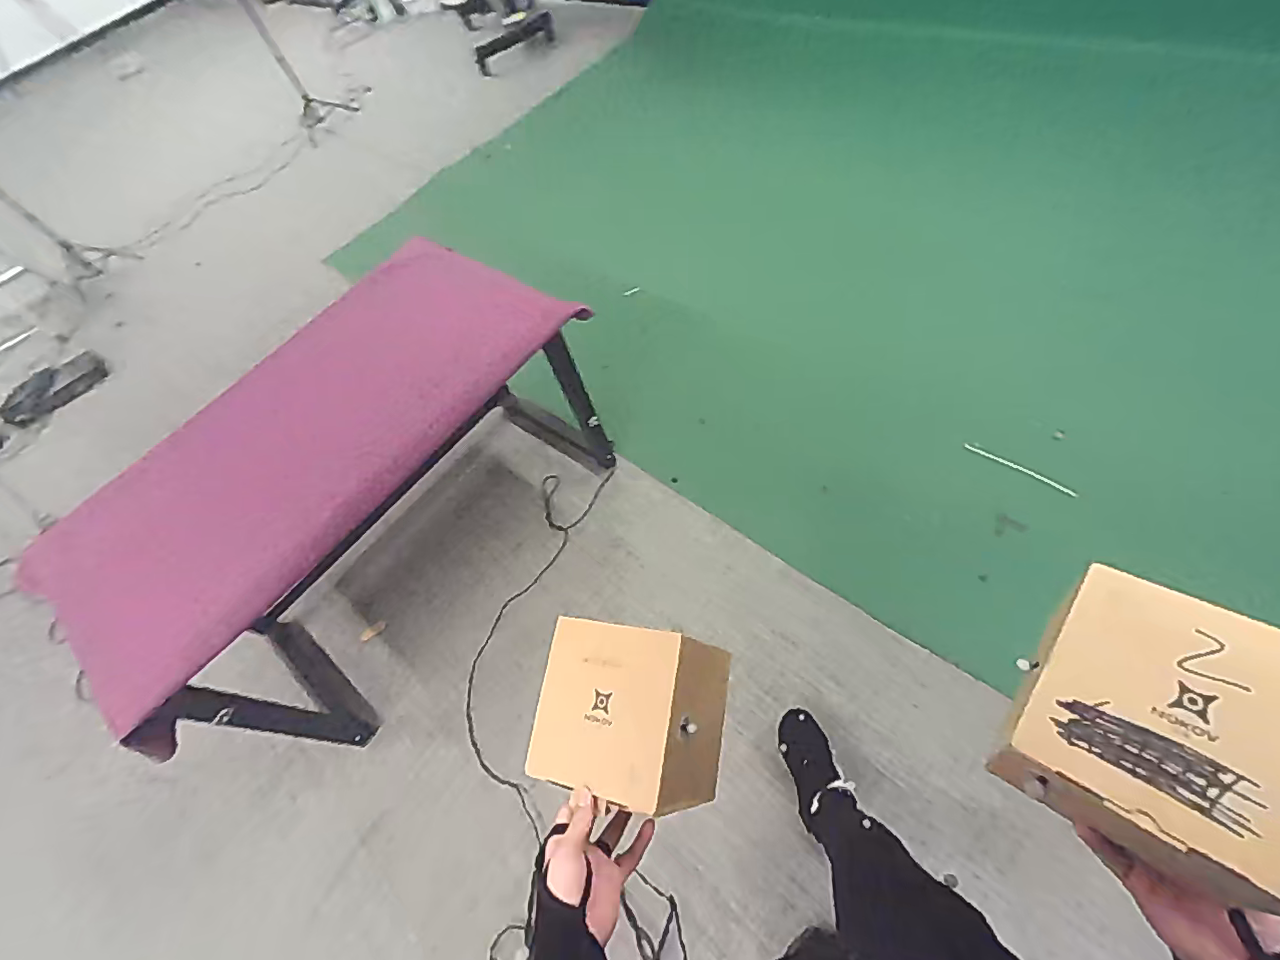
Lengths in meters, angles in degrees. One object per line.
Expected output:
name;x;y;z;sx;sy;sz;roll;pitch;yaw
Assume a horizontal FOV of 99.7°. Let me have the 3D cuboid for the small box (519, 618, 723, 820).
small box;-0.011;0.274;0.644;0.168;0.176;0.179;-1;67;29
